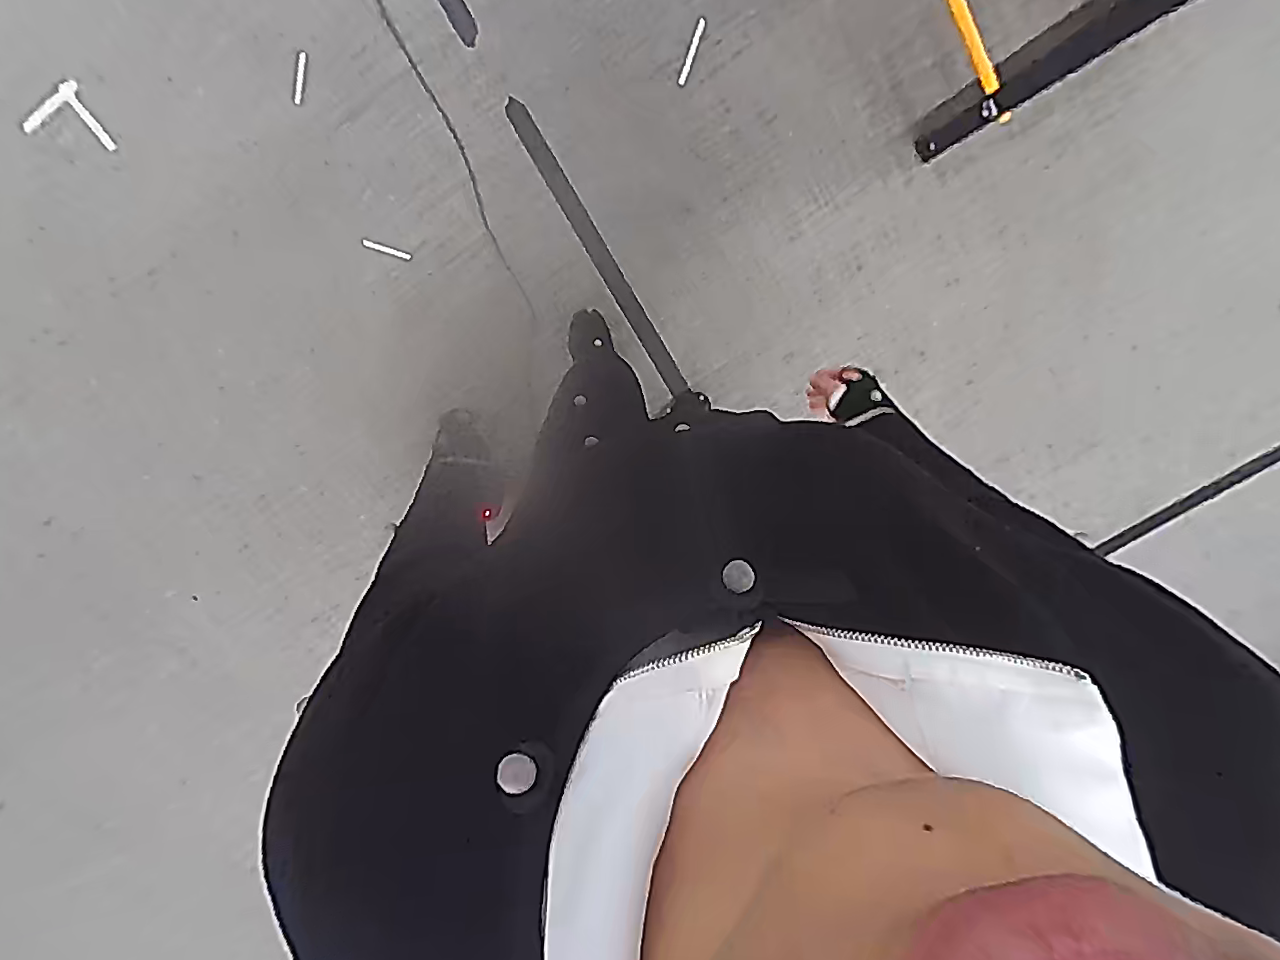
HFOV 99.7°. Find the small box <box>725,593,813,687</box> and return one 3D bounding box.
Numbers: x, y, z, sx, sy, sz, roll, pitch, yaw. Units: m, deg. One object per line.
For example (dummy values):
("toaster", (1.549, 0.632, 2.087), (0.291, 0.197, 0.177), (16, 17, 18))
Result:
("small box", (0.360, 0.446, 1.546), (0.168, 0.176, 0.179), (-30, 102, 7))
